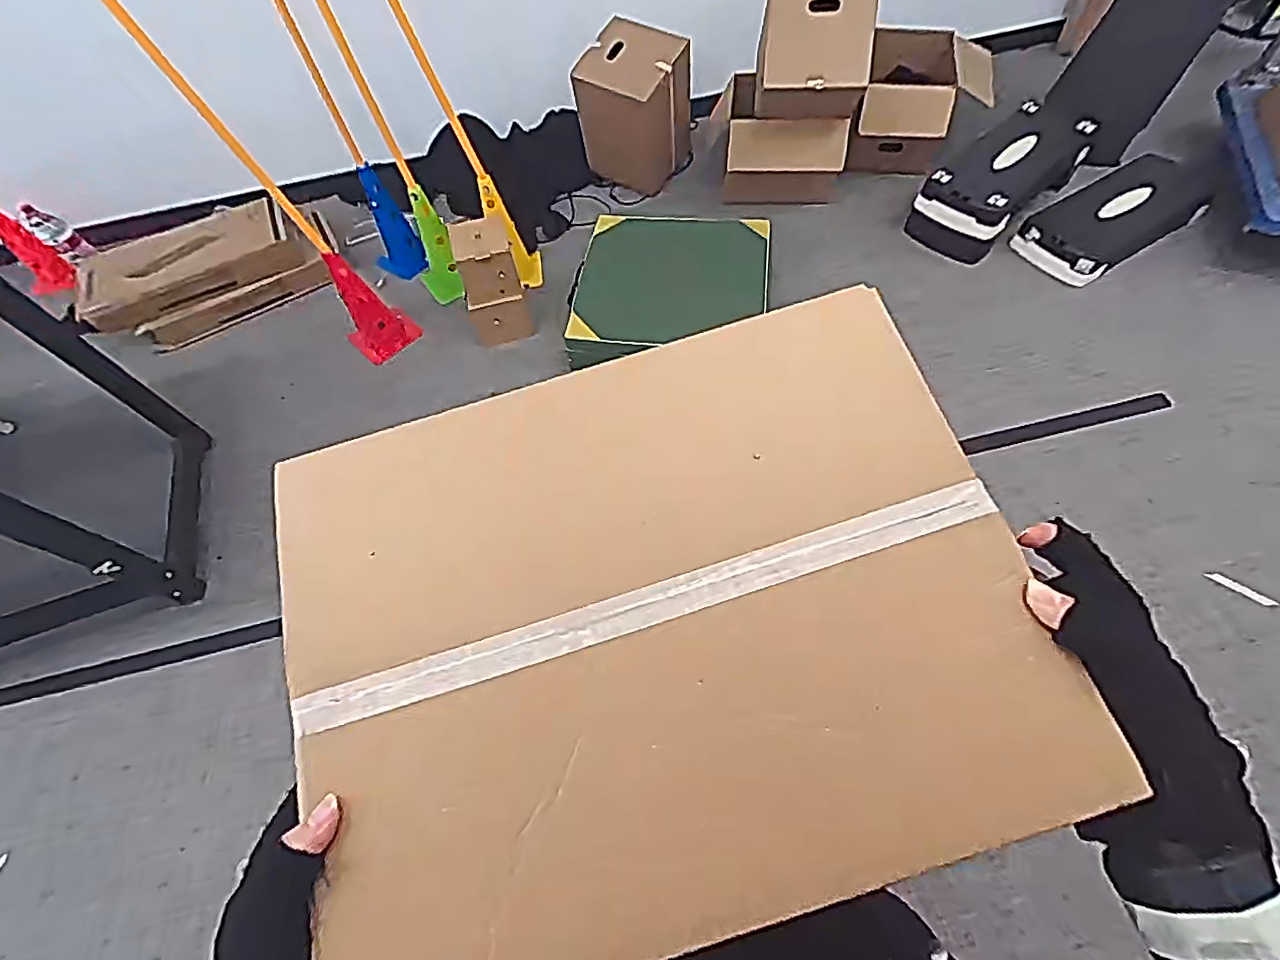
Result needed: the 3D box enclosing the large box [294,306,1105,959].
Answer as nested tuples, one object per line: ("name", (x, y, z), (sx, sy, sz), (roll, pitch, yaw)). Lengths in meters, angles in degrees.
("large box", (0.017, 0.124, 0.453), (0.408, 0.320, 0.320), (-18, 70, -1))
